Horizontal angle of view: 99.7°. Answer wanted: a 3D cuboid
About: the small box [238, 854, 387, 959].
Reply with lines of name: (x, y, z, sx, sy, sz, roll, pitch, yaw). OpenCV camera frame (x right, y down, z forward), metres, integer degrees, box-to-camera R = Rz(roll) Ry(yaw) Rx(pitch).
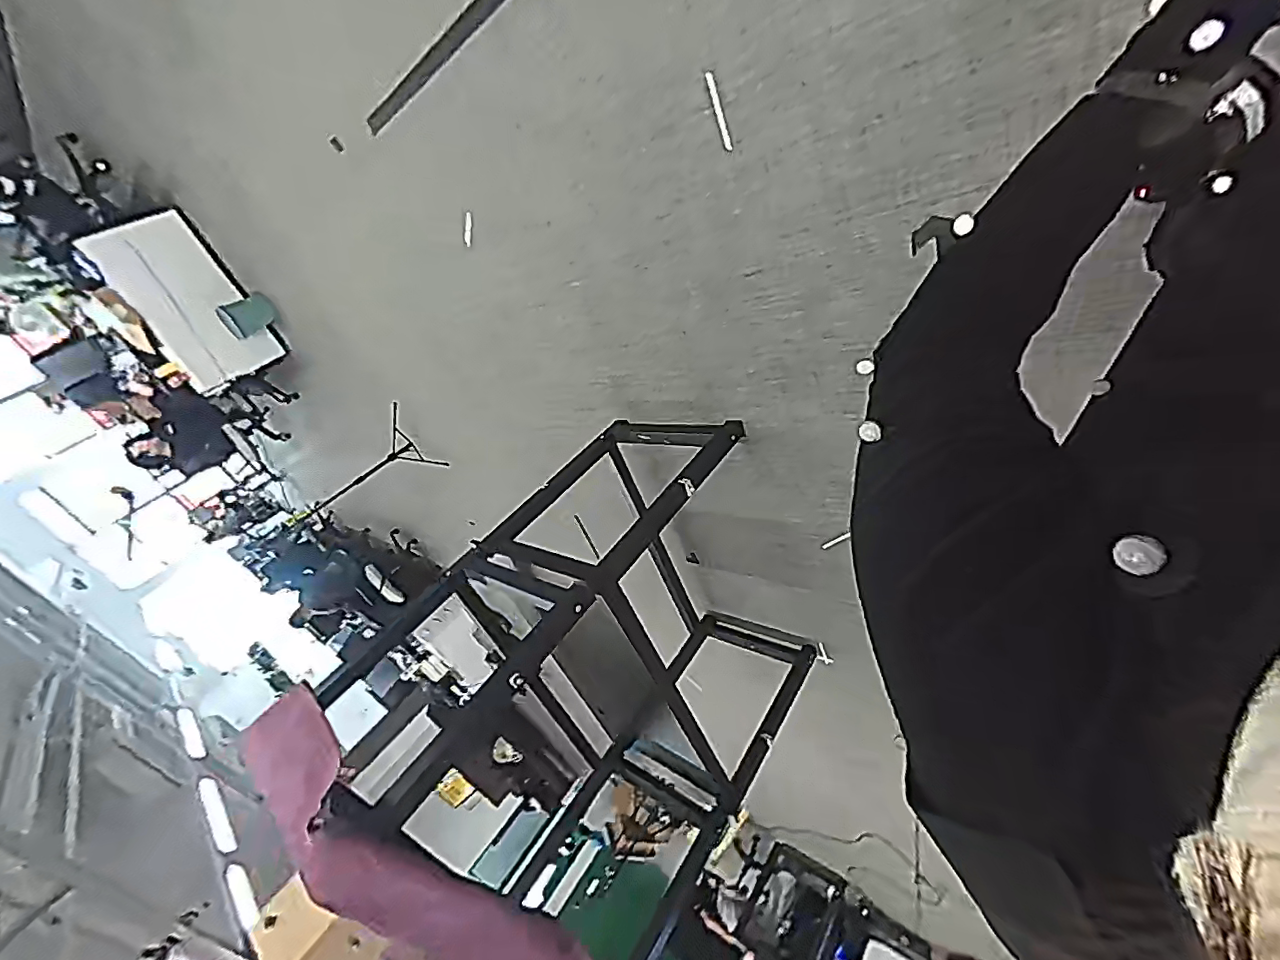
small box: (-0.643, 0.888, 1.076, 0.179, 0.176, 0.168, 10, 136, 42)
